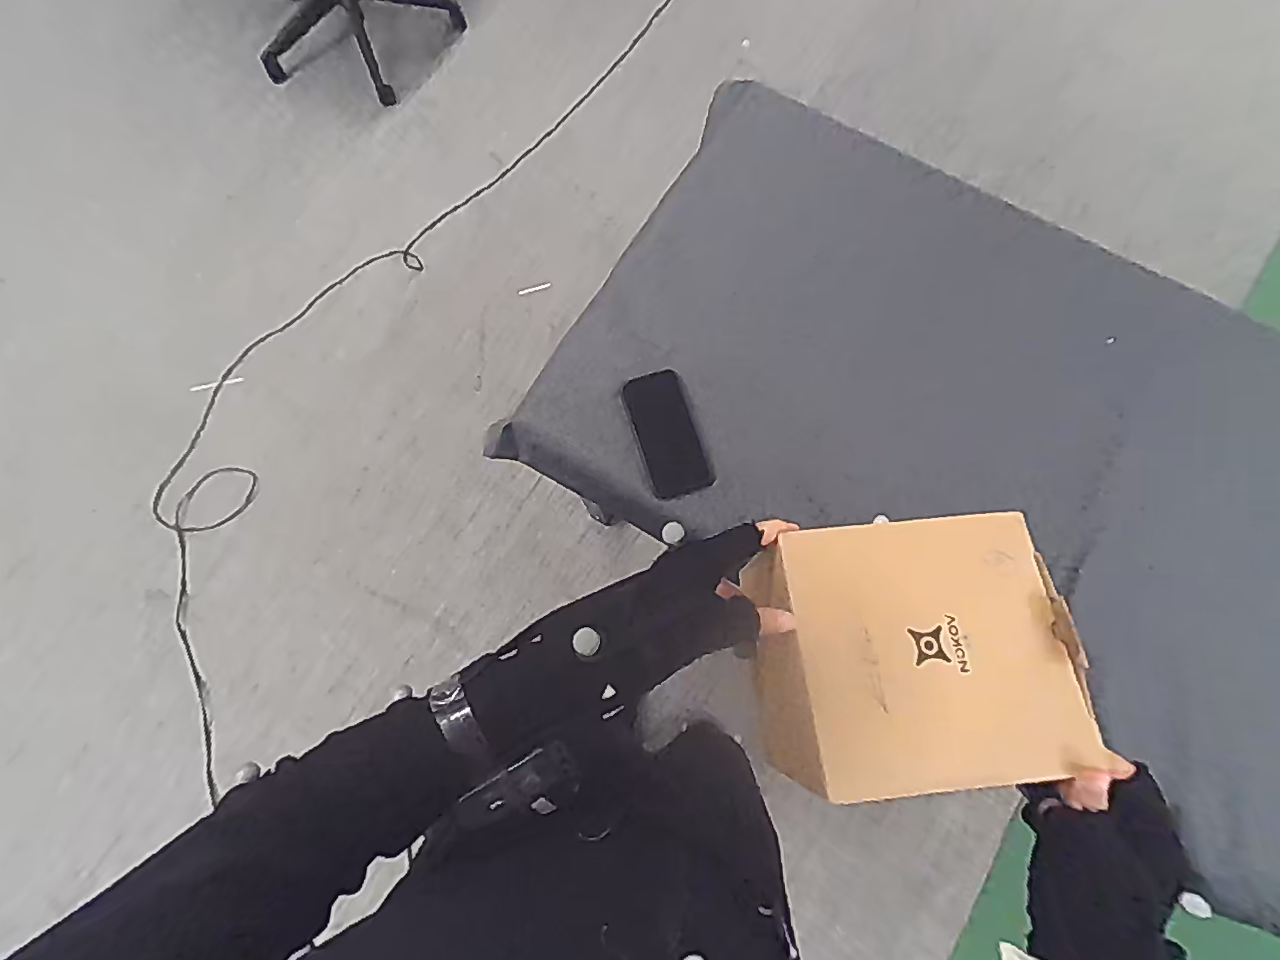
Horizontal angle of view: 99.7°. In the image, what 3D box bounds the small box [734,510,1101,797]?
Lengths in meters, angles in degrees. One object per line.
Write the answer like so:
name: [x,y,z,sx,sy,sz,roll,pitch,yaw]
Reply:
small box: [0.184,0.131,0.422,0.179,0.176,0.168,-6,69,-2]
